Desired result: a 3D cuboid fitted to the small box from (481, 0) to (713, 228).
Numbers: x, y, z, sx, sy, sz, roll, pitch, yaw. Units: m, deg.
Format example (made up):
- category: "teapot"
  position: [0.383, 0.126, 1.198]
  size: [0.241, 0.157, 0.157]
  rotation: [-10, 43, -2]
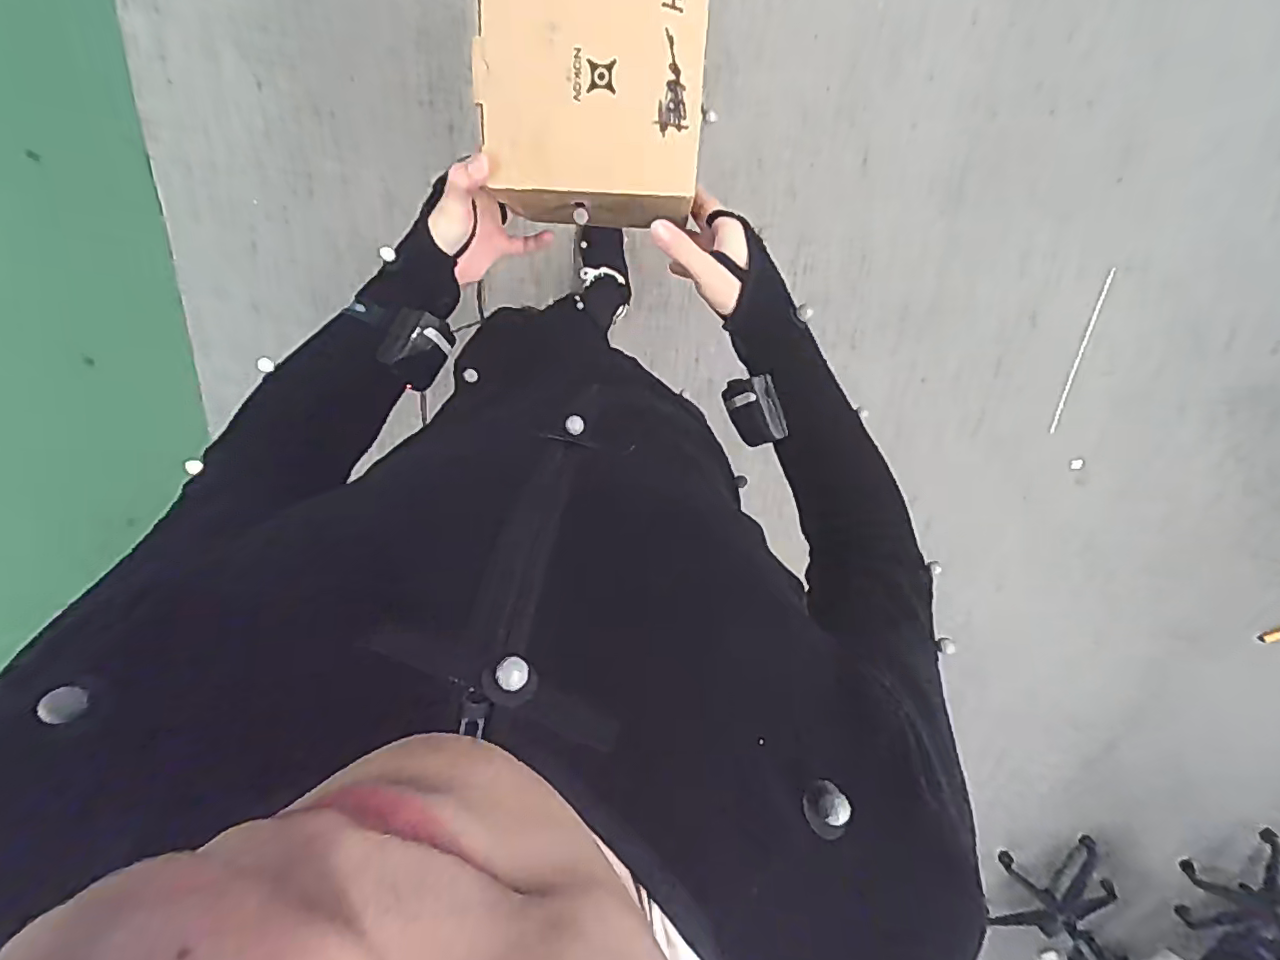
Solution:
- category: "small box"
  position: [-0.031, -0.335, 0.491]
  size: [0.179, 0.176, 0.168]
  rotation: [4, 106, 2]
